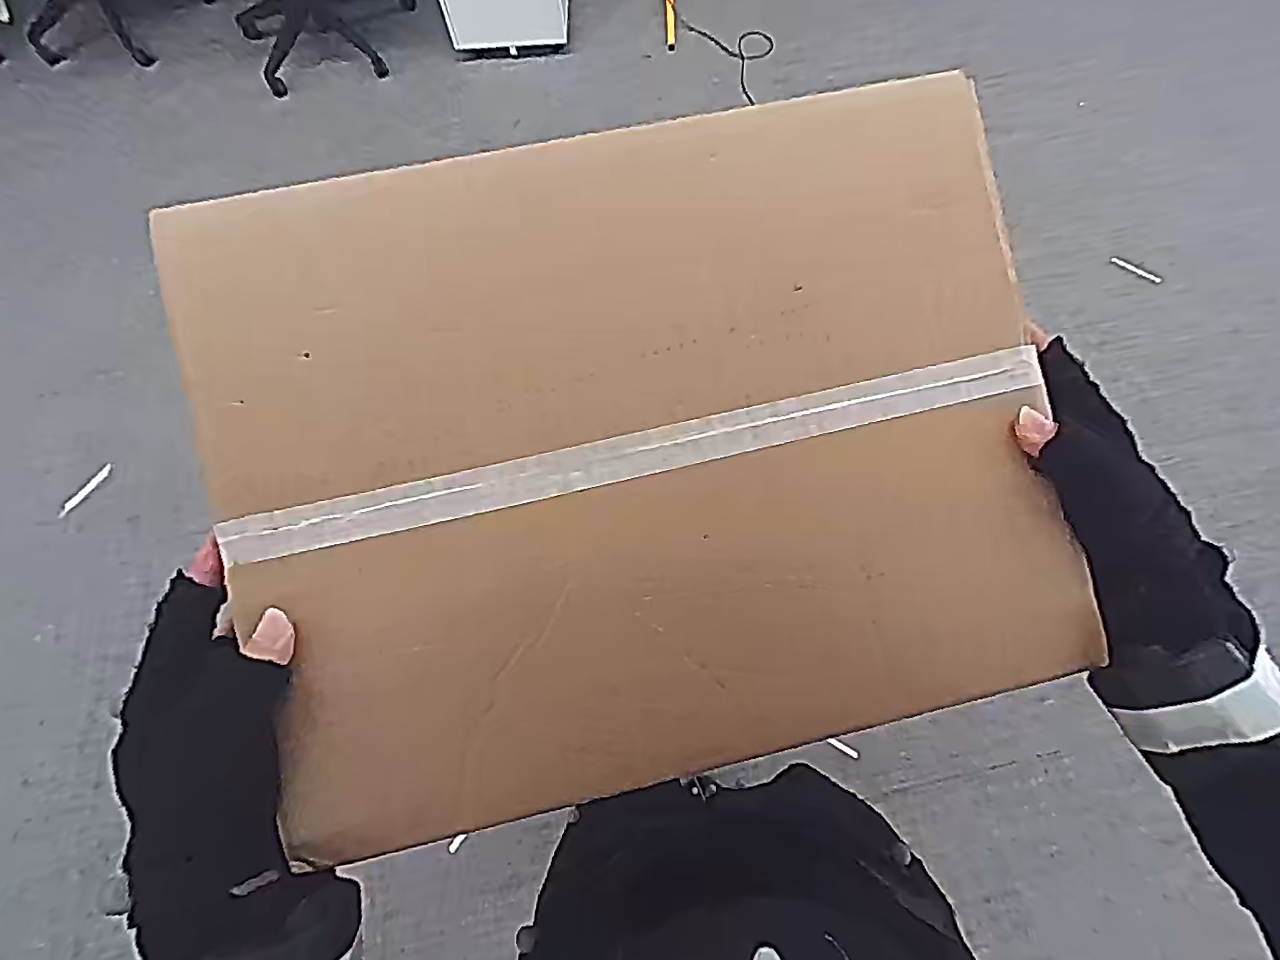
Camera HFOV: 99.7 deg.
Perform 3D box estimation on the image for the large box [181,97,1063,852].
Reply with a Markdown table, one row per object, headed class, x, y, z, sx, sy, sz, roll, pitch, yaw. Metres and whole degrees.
| class | x | y | z | sx | sy | sz | roll | pitch | yaw |
| --- | --- | --- | --- | --- | --- | --- | --- | --- | --- |
| large box | -0.006 | -0.011 | 0.422 | 0.408 | 0.320 | 0.320 | -13 | 89 | -4 |
